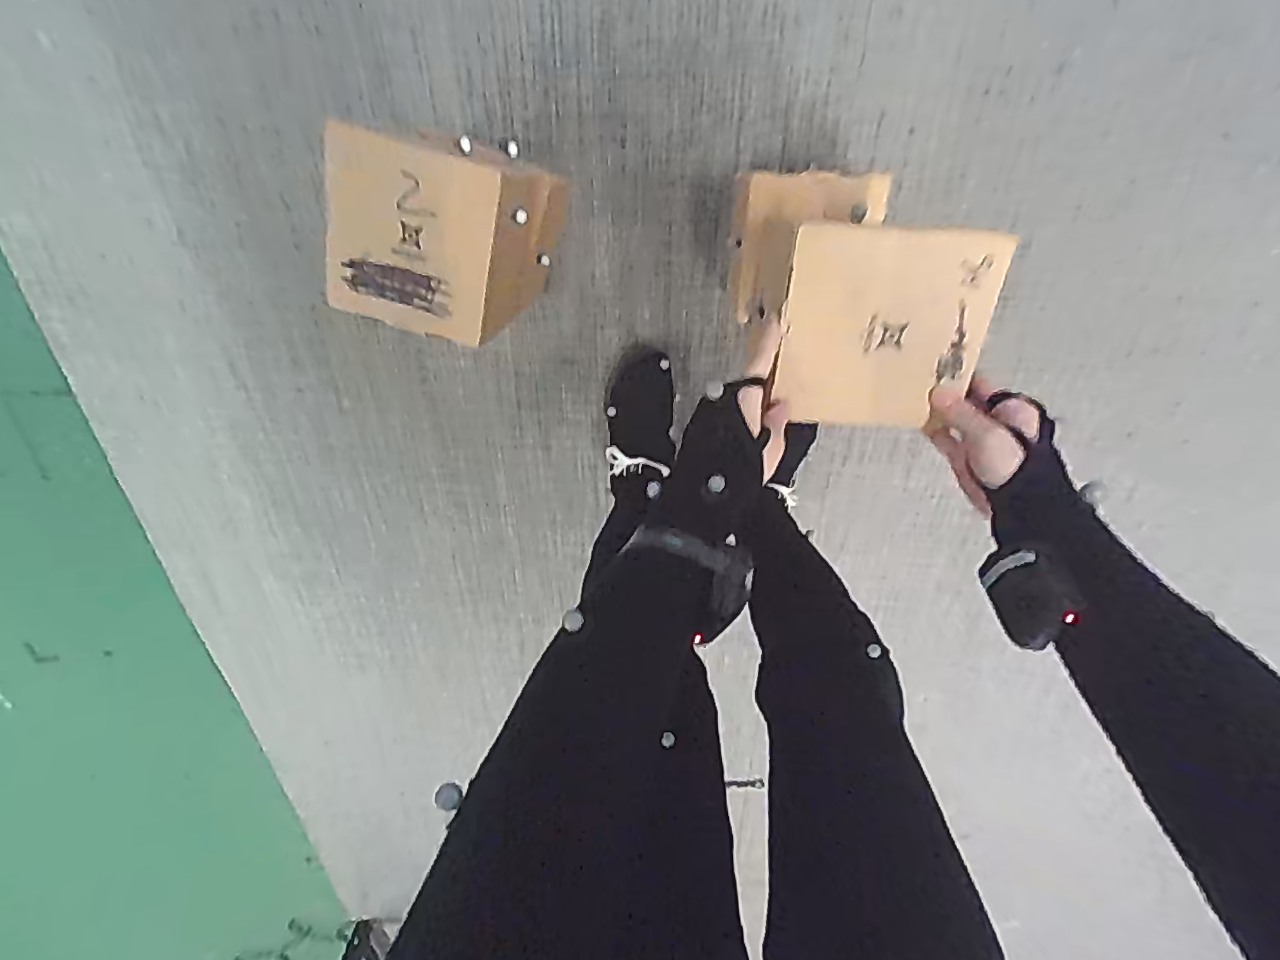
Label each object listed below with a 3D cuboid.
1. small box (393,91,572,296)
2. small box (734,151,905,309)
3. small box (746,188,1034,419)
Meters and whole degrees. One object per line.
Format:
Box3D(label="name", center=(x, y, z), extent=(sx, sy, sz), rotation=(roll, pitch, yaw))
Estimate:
Box3D(label="small box", center=(-0.201, -0.376, 0.723), extent=(0.168, 0.176, 0.179), rotation=(21, 119, -8))
Box3D(label="small box", center=(0.219, -0.329, 0.716), extent=(0.168, 0.176, 0.179), rotation=(4, 119, 3))
Box3D(label="small box", center=(0.203, -0.171, 0.507), extent=(0.179, 0.176, 0.168), rotation=(6, 119, 1))
